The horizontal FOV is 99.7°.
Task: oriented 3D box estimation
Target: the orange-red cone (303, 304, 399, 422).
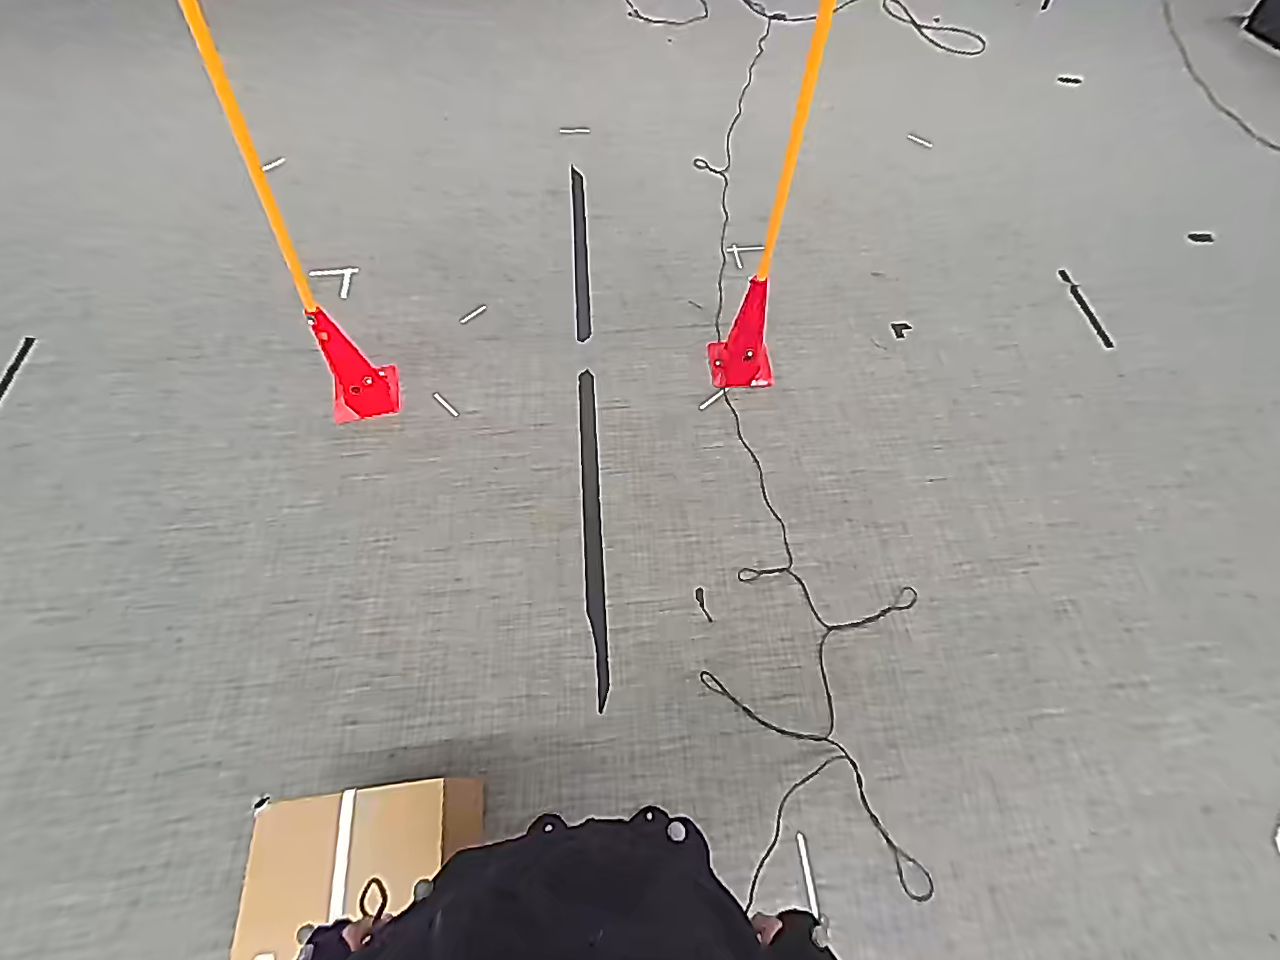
[{"bbox_3d":[-0.866,-0.360,1.563,0.199,0.360,0.198,-12,61,-7],"label":"orange-red cone"}]
